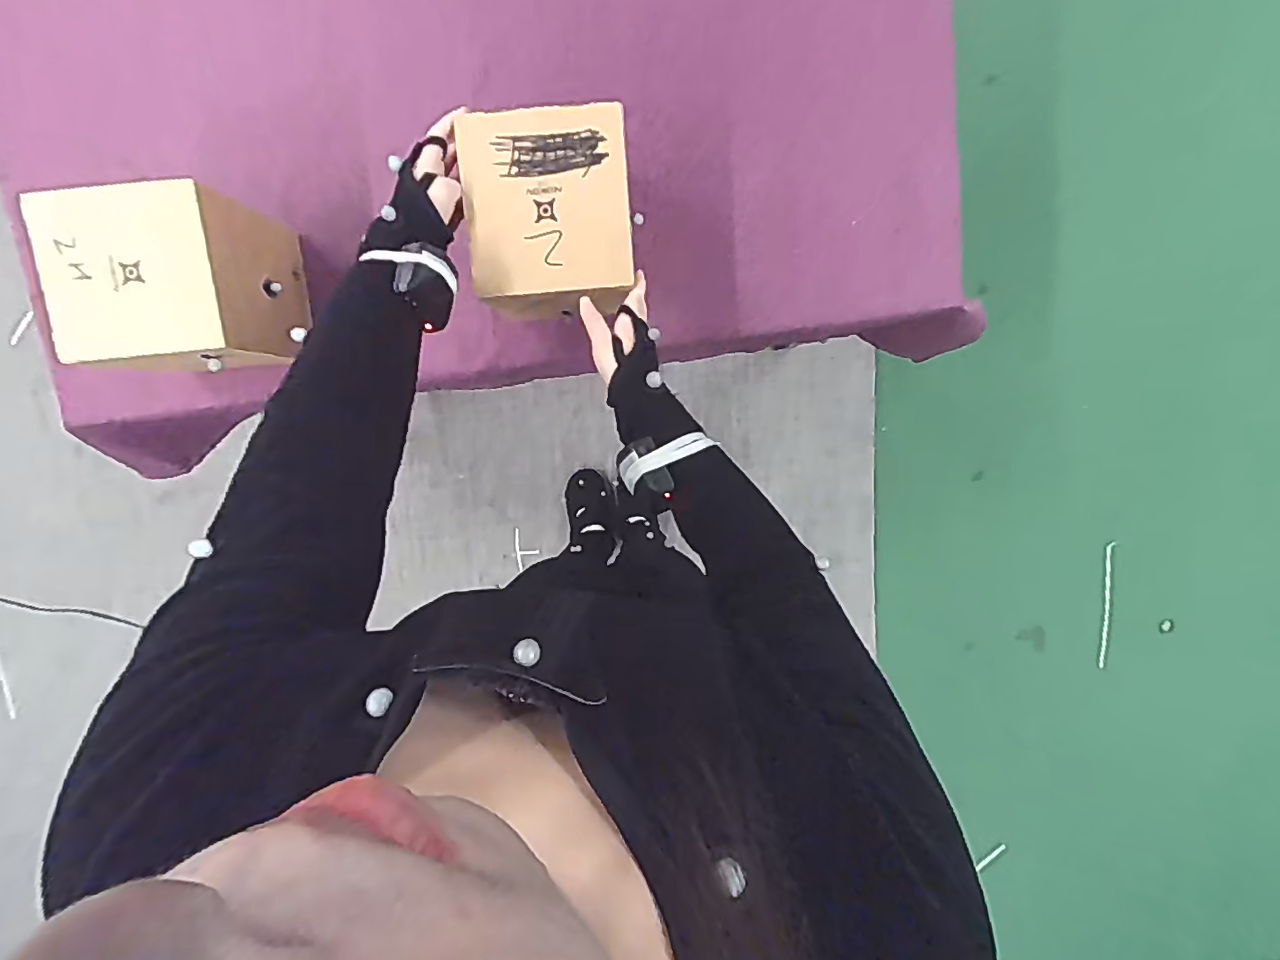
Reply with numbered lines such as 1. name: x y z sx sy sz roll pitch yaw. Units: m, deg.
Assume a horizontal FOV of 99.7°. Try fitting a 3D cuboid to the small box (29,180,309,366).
1. small box: -0.517 -0.225 0.628 0.179 0.176 0.168 -5 98 1
